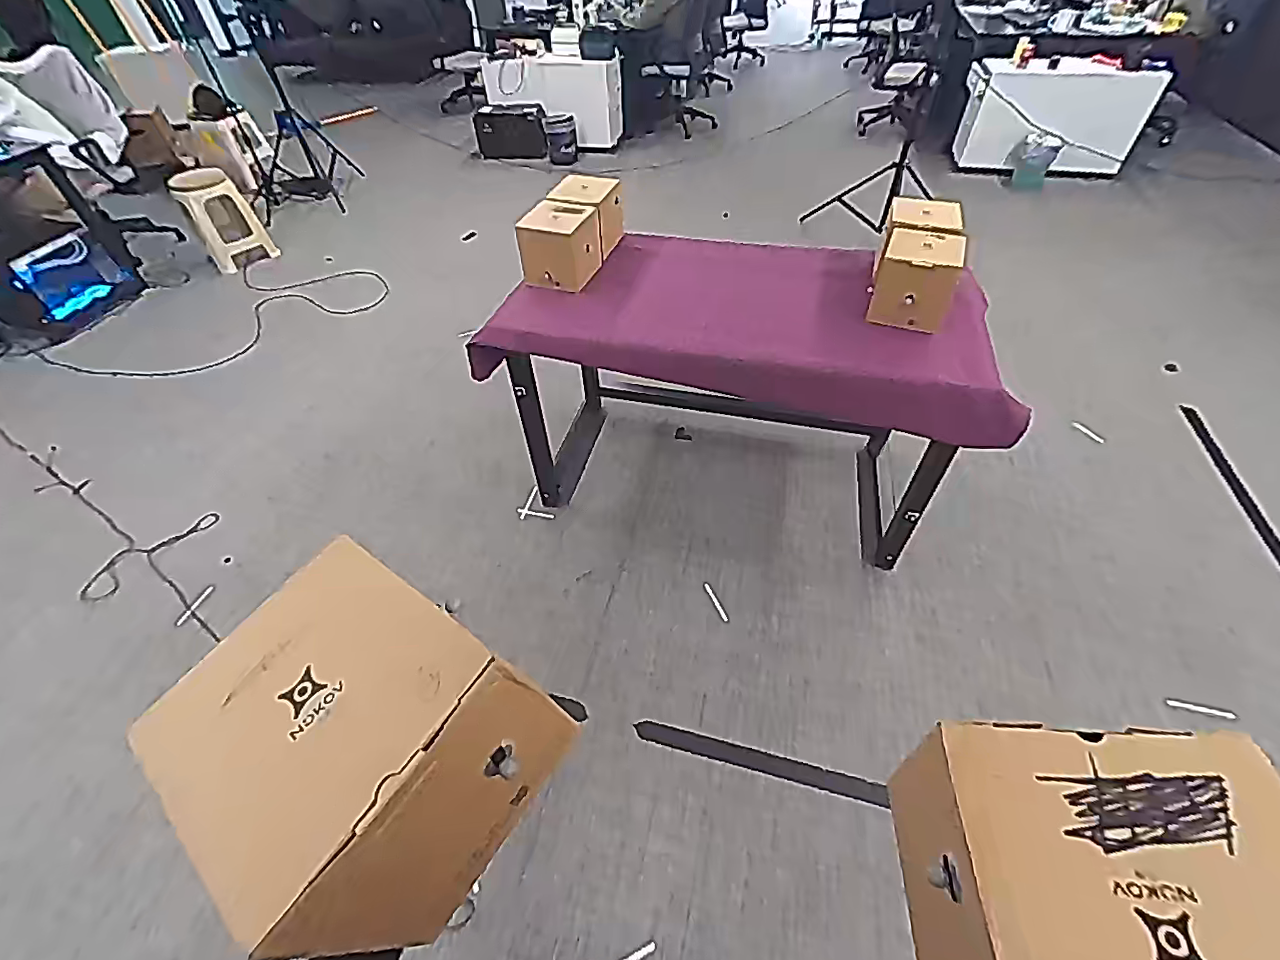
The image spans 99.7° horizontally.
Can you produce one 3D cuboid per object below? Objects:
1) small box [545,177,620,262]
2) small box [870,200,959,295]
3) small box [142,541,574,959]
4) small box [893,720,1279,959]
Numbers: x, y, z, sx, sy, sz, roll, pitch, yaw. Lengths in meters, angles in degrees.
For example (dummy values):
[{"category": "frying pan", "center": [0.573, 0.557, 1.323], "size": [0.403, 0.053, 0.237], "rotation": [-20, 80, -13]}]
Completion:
[{"category": "small box", "center": [-0.164, -0.779, 1.617], "size": [0.168, 0.176, 0.179], "rotation": [13, 51, 14]}, {"category": "small box", "center": [0.724, -0.620, 1.442], "size": [0.168, 0.176, 0.179], "rotation": [13, 49, 13]}, {"category": "small box", "center": [-0.173, 0.179, 0.381], "size": [0.179, 0.176, 0.168], "rotation": [24, 61, 30]}, {"category": "small box", "center": [0.268, 0.265, 0.327], "size": [0.168, 0.176, 0.179], "rotation": [-2, 50, 10]}]
